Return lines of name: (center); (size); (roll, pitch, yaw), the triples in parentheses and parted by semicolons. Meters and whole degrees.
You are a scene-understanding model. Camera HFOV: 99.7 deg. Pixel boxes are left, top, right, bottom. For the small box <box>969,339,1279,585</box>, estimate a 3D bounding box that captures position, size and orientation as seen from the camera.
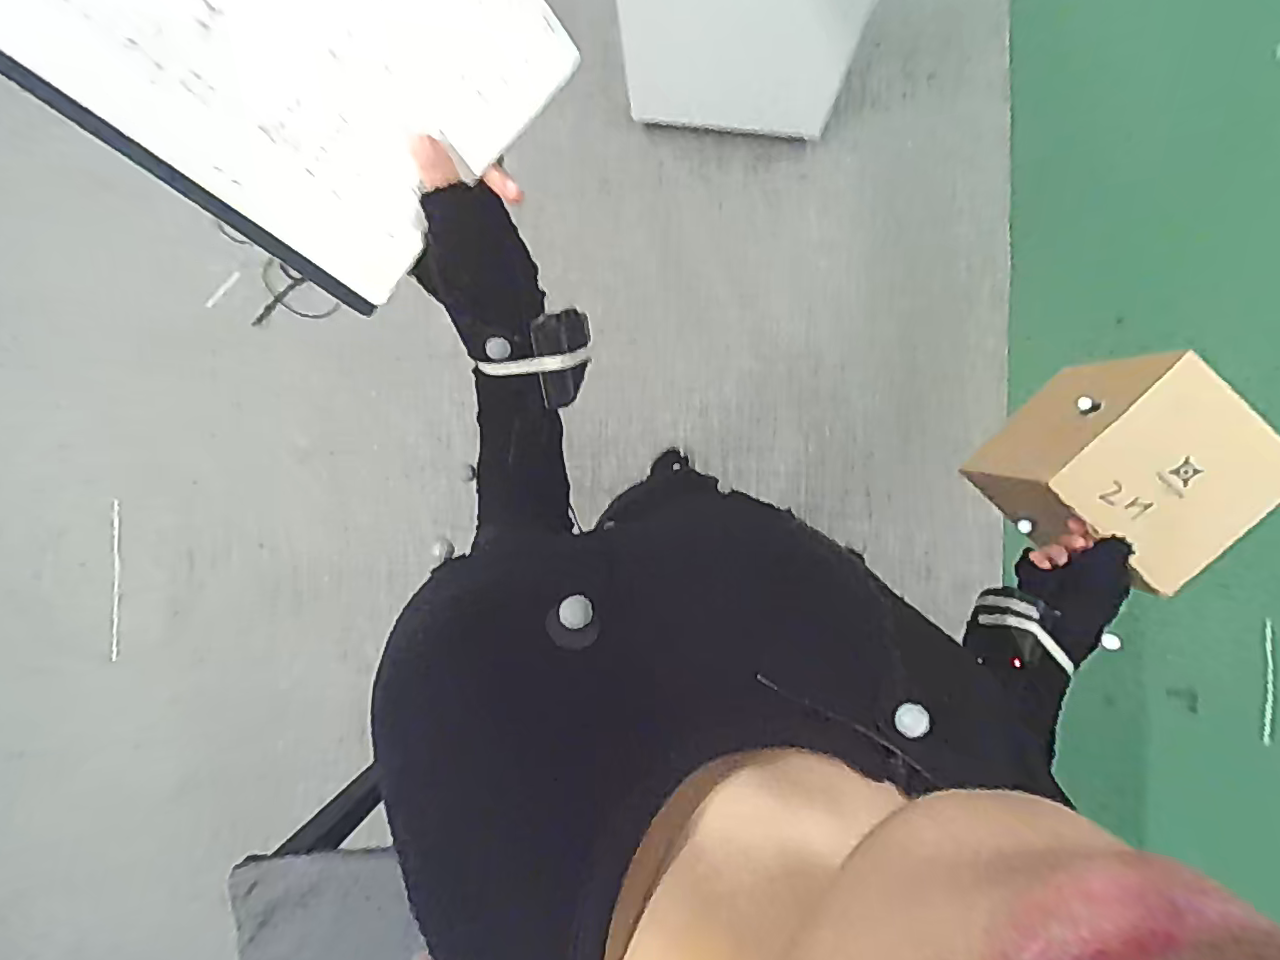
small box: (0.511, -0.023, 0.586); (0.168, 0.176, 0.179); (43, 97, 0)
